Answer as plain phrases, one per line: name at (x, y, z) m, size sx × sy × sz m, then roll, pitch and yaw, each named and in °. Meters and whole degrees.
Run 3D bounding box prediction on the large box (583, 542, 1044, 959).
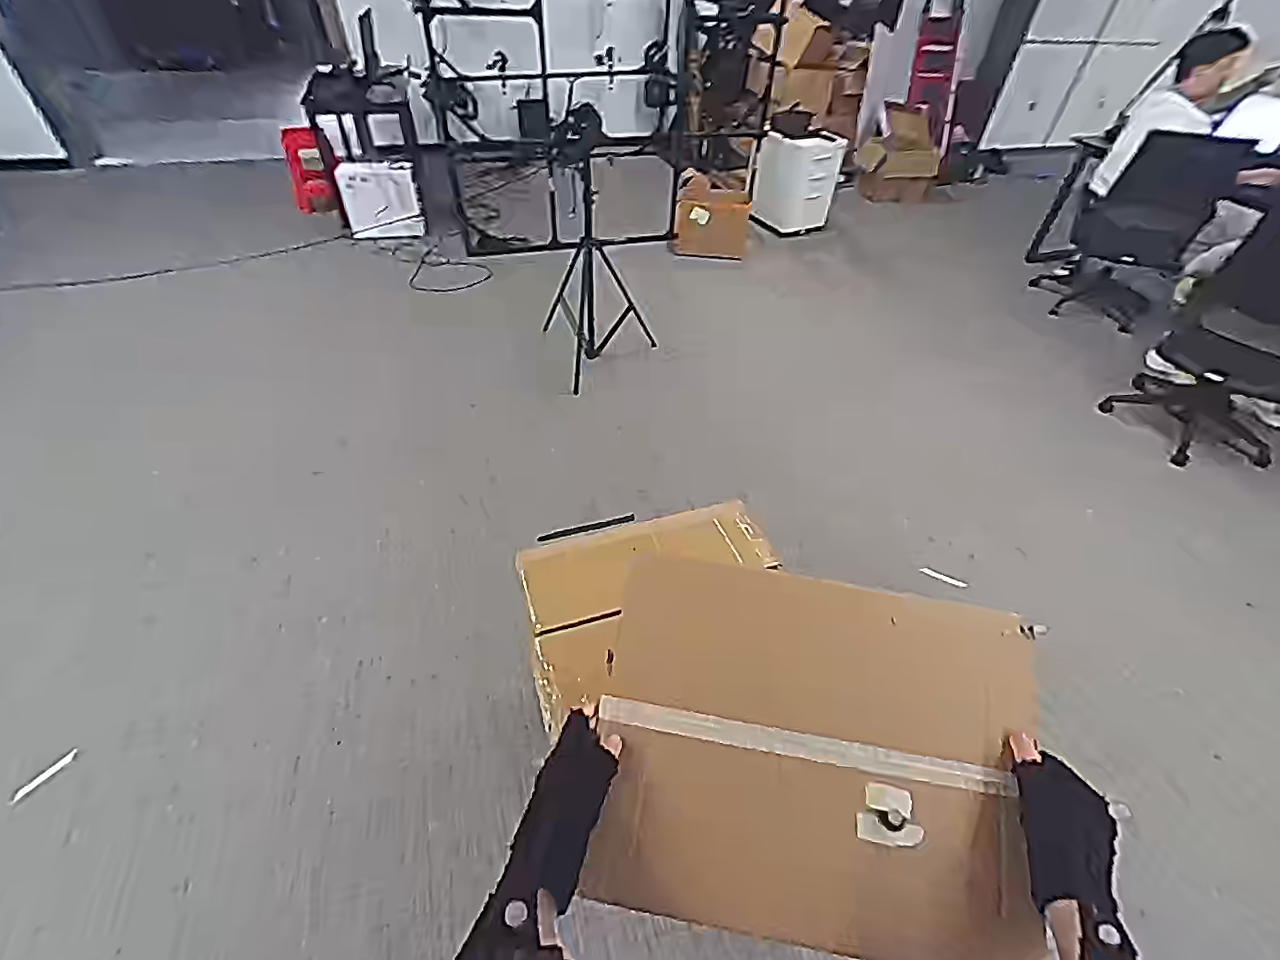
large box at (0.163, 0.280, 0.647) m, size 0.408 × 0.320 × 0.320 m, roll 9°, pitch 73°, yaw 2°
